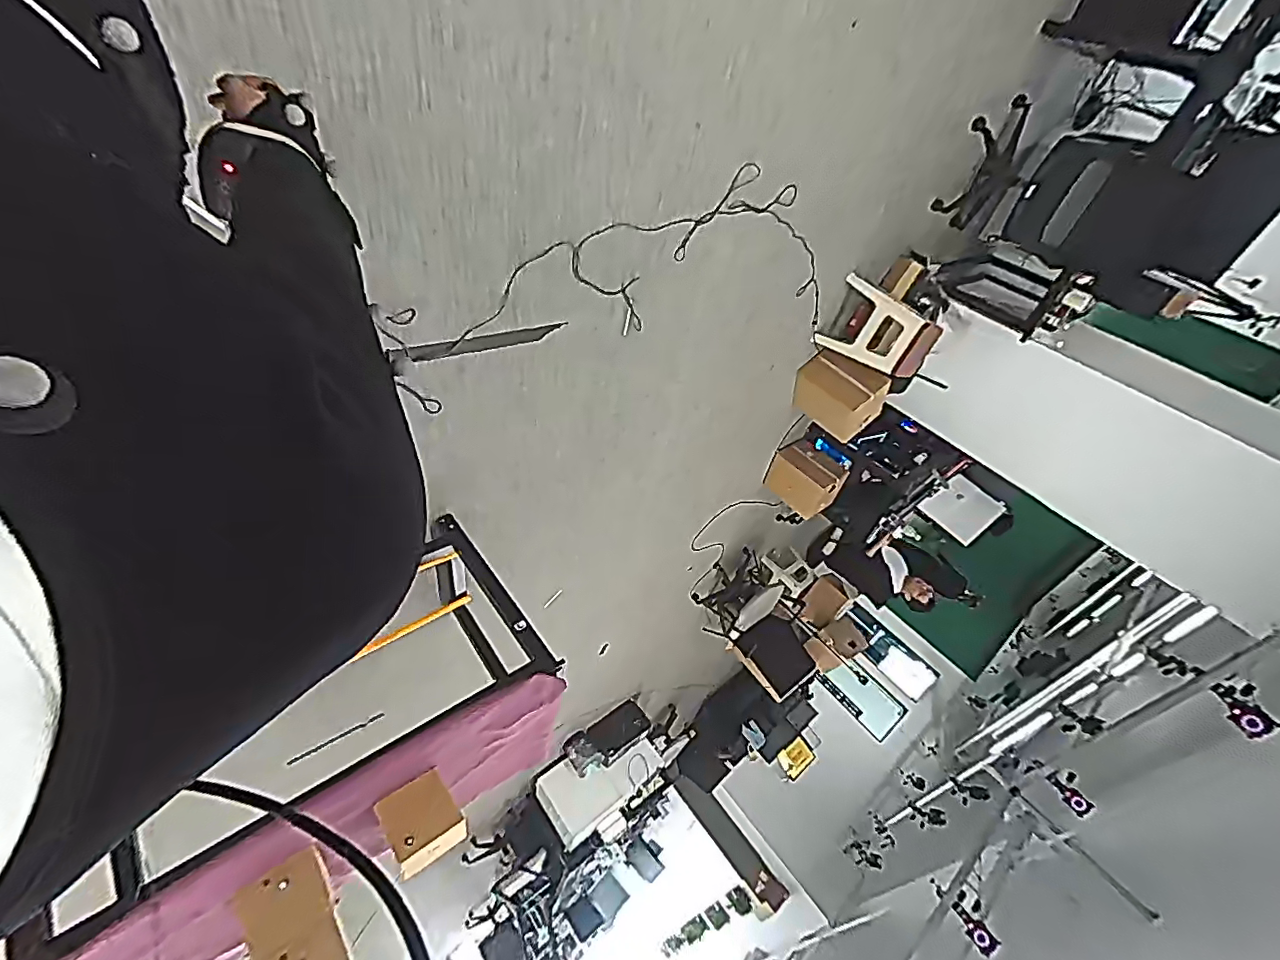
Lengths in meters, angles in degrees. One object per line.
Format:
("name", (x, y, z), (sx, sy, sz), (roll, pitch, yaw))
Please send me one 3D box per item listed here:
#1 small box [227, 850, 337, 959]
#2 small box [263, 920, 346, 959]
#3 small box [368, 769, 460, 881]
("small box", (-0.842, 1.024, 1.278), (0.168, 0.176, 0.179), (-22, 142, -37))
("small box", (-0.742, 1.125, 1.194), (0.168, 0.176, 0.179), (-22, 143, -37))
("small box", (-0.607, 0.923, 1.459), (0.179, 0.176, 0.168), (-22, 143, -35))
